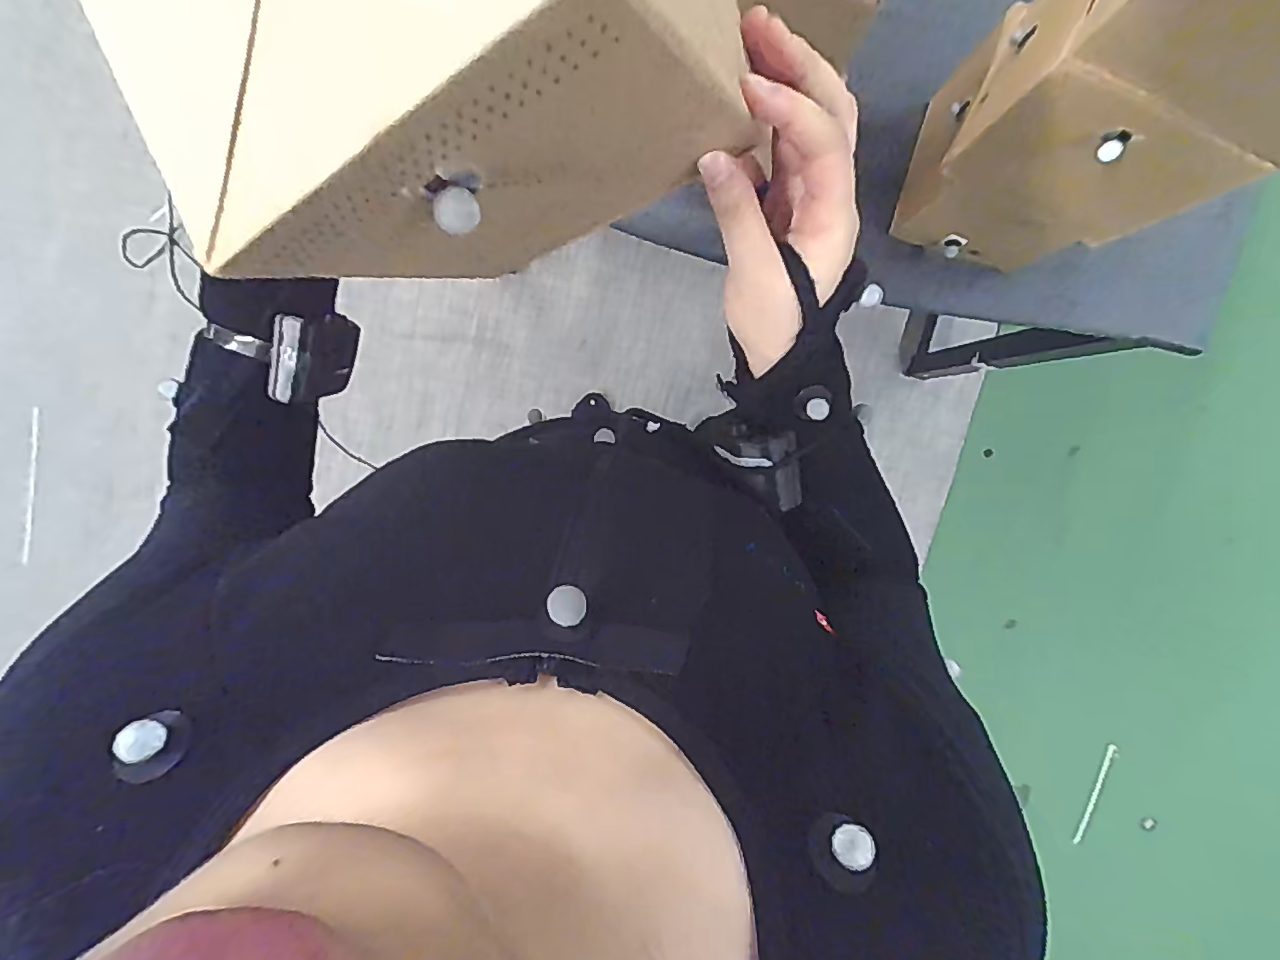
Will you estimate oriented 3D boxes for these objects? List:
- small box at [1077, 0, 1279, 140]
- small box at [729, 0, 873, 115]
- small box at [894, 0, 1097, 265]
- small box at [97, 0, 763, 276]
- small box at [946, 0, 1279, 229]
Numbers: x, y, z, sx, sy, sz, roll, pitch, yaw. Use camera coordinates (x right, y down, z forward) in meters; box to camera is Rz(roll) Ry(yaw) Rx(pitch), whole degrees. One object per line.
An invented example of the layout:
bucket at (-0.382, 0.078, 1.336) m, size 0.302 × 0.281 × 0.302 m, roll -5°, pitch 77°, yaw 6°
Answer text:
small box at (0.401, -0.321, 0.282) m, size 0.179 × 0.176 × 0.168 m, roll 28°, pitch 96°, yaw 1°
small box at (0.103, -0.441, 0.443) m, size 0.179 × 0.176 × 0.168 m, roll 15°, pitch 96°, yaw 1°
small box at (0.415, -0.368, 0.606) m, size 0.168 × 0.176 × 0.179 m, roll 15°, pitch 97°, yaw 1°
small box at (-0.075, -0.191, 0.205) m, size 0.179 × 0.176 × 0.168 m, roll -12°, pitch 104°, yaw 29°
small box at (0.405, -0.337, 0.446) m, size 0.179 × 0.176 × 0.168 m, roll 26°, pitch 96°, yaw 1°
